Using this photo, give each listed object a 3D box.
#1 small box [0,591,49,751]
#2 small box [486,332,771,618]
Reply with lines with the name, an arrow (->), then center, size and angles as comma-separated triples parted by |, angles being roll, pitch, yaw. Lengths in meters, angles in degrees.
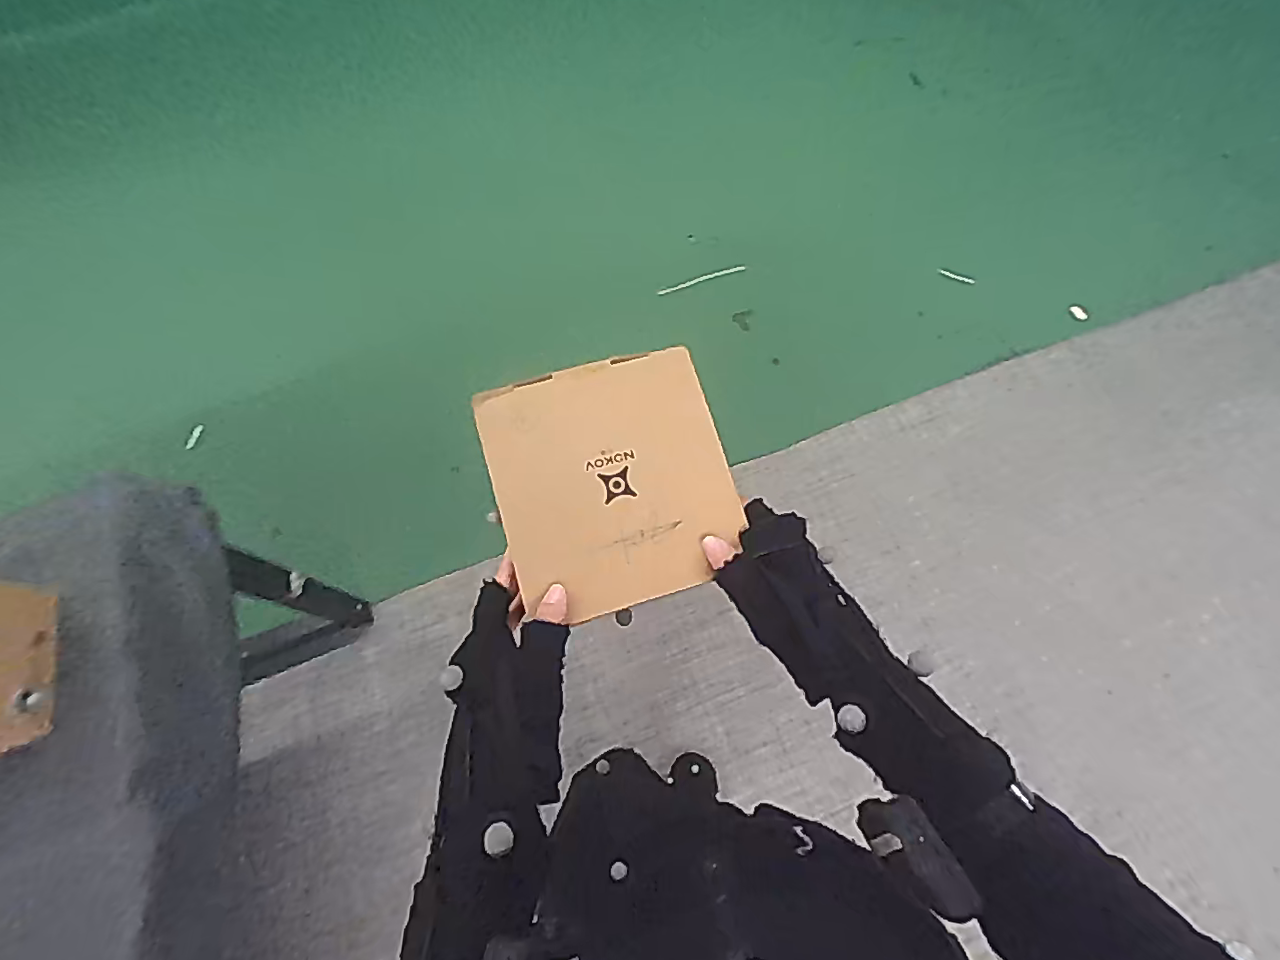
small box -> -0.753, 0.205, 0.532 | 0.179, 0.176, 0.168 | -21, 68, -6
small box -> -0.017, 0.007, 0.443 | 0.168, 0.176, 0.179 | -13, 79, -8
